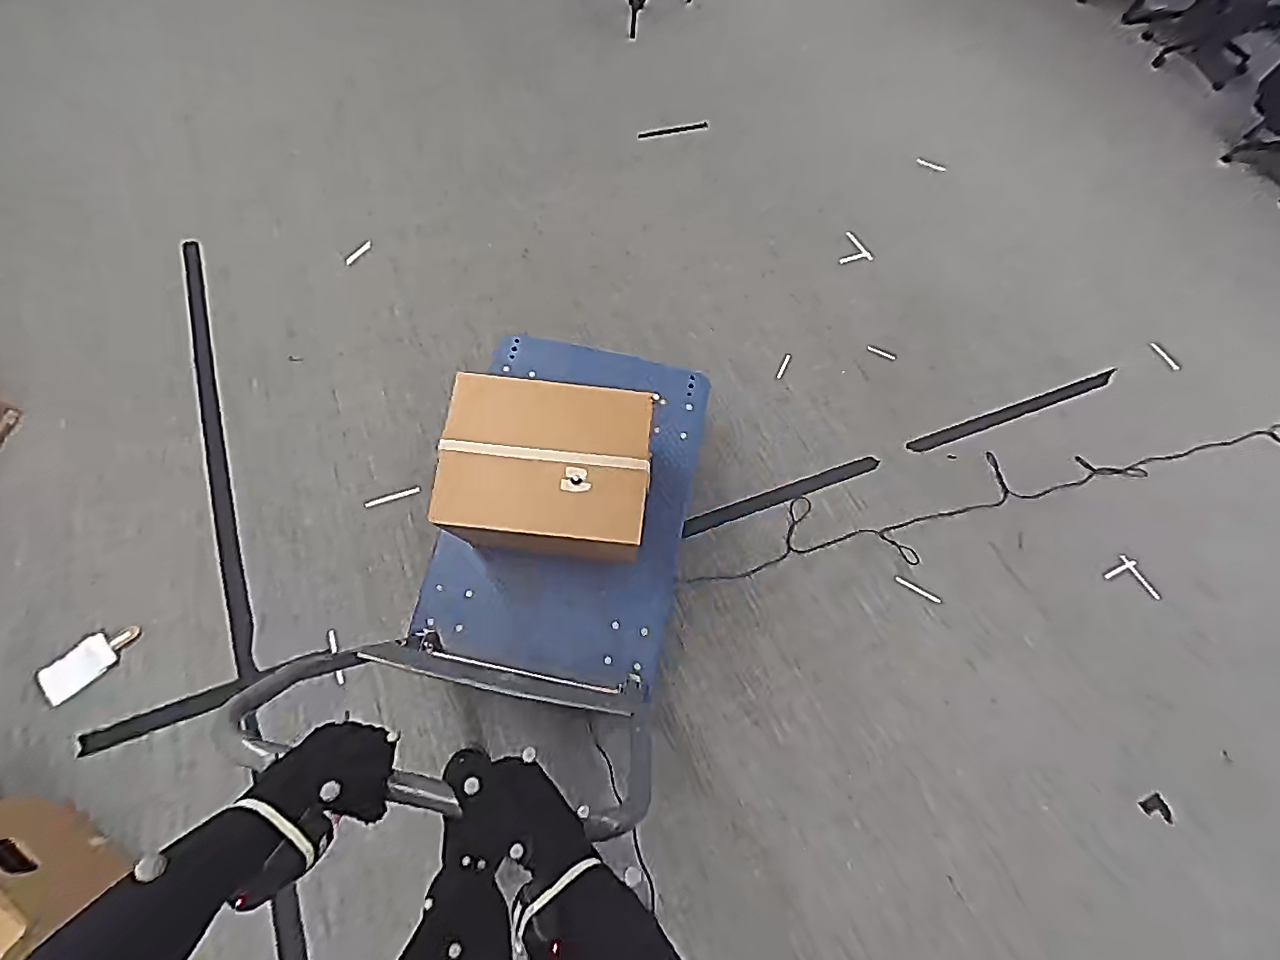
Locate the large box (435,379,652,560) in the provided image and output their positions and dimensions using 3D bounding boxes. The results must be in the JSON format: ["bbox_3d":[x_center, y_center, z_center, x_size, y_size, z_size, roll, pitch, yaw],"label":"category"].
[{"bbox_3d":[-0.193,-0.004,1.207,0.408,0.320,0.320,5,75,-2],"label":"large box"}]
